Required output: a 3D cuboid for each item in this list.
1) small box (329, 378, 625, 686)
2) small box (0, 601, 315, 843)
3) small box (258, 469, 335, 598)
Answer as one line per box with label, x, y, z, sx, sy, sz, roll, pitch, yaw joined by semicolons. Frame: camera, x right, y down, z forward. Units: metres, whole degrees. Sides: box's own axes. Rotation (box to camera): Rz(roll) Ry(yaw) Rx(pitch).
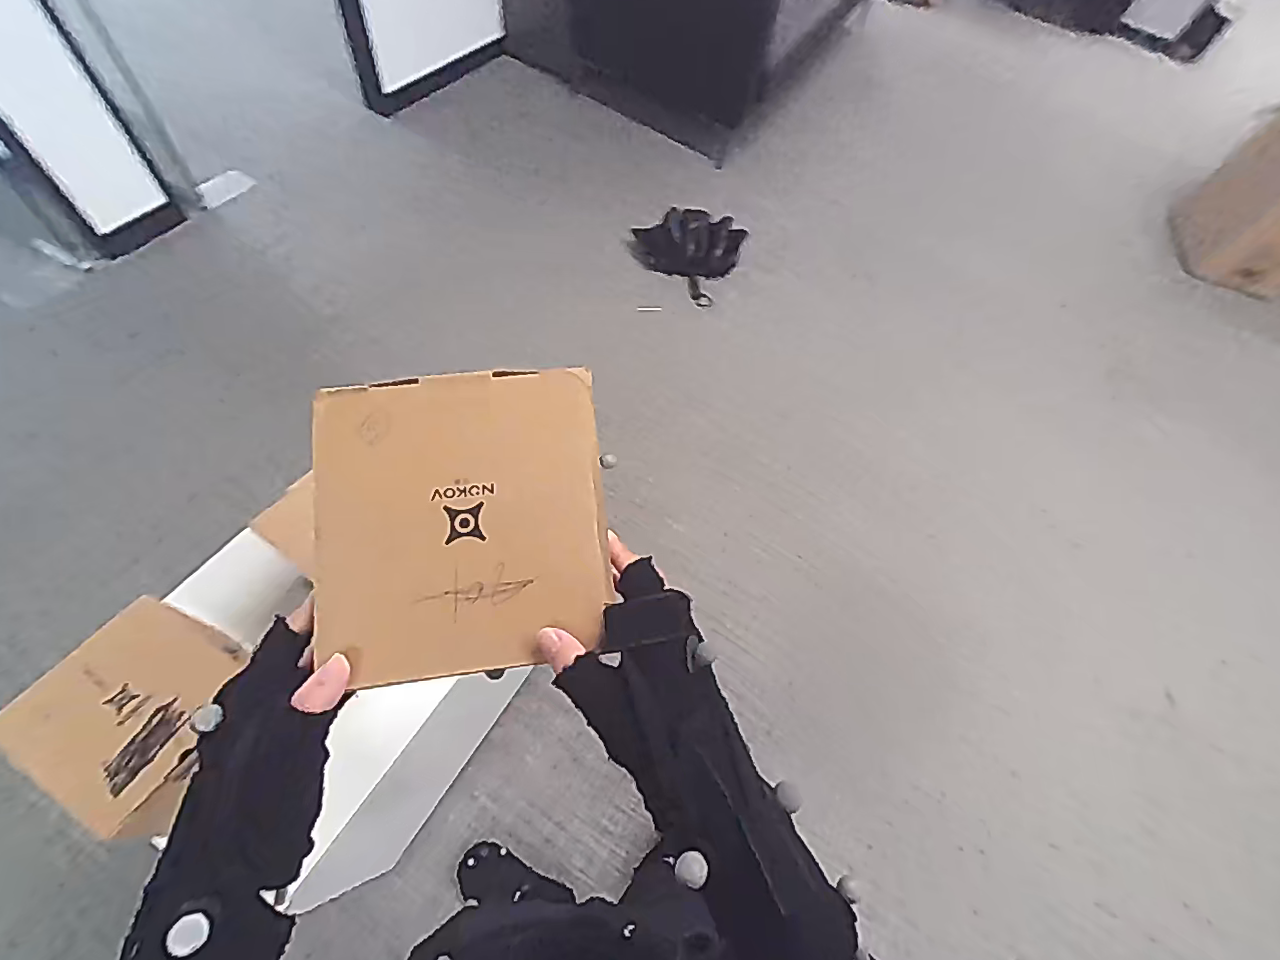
small box;-0.104;0.042;0.399;0.168;0.176;0.179;-5;78;-6
small box;-0.519;0.272;0.616;0.179;0.176;0.168;31;60;11
small box;-0.359;0.095;0.742;0.179;0.176;0.168;34;62;12
